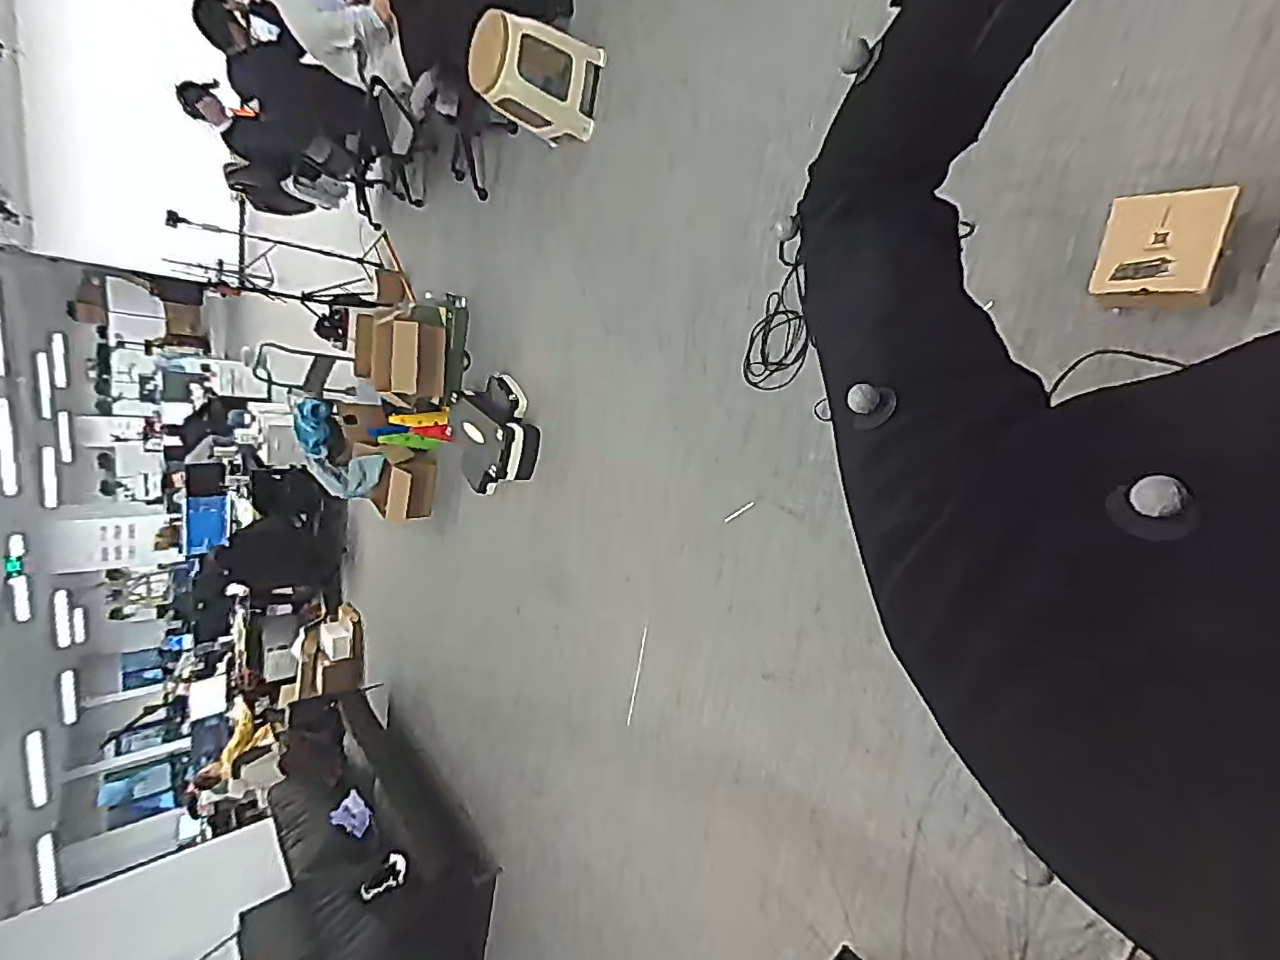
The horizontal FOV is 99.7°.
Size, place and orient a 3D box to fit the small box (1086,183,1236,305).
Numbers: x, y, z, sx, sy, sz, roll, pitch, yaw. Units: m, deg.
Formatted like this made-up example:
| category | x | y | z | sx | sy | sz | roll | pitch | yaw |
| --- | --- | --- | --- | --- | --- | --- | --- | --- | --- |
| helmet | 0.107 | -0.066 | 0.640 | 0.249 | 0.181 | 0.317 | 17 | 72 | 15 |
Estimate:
| category | x | y | z | sx | sy | sz | roll | pitch | yaw |
| --- | --- | --- | --- | --- | --- | --- | --- | --- | --- |
| small box | 0.991 | -0.435 | 1.030 | 0.168 | 0.176 | 0.179 | 19 | 105 | 45 |
